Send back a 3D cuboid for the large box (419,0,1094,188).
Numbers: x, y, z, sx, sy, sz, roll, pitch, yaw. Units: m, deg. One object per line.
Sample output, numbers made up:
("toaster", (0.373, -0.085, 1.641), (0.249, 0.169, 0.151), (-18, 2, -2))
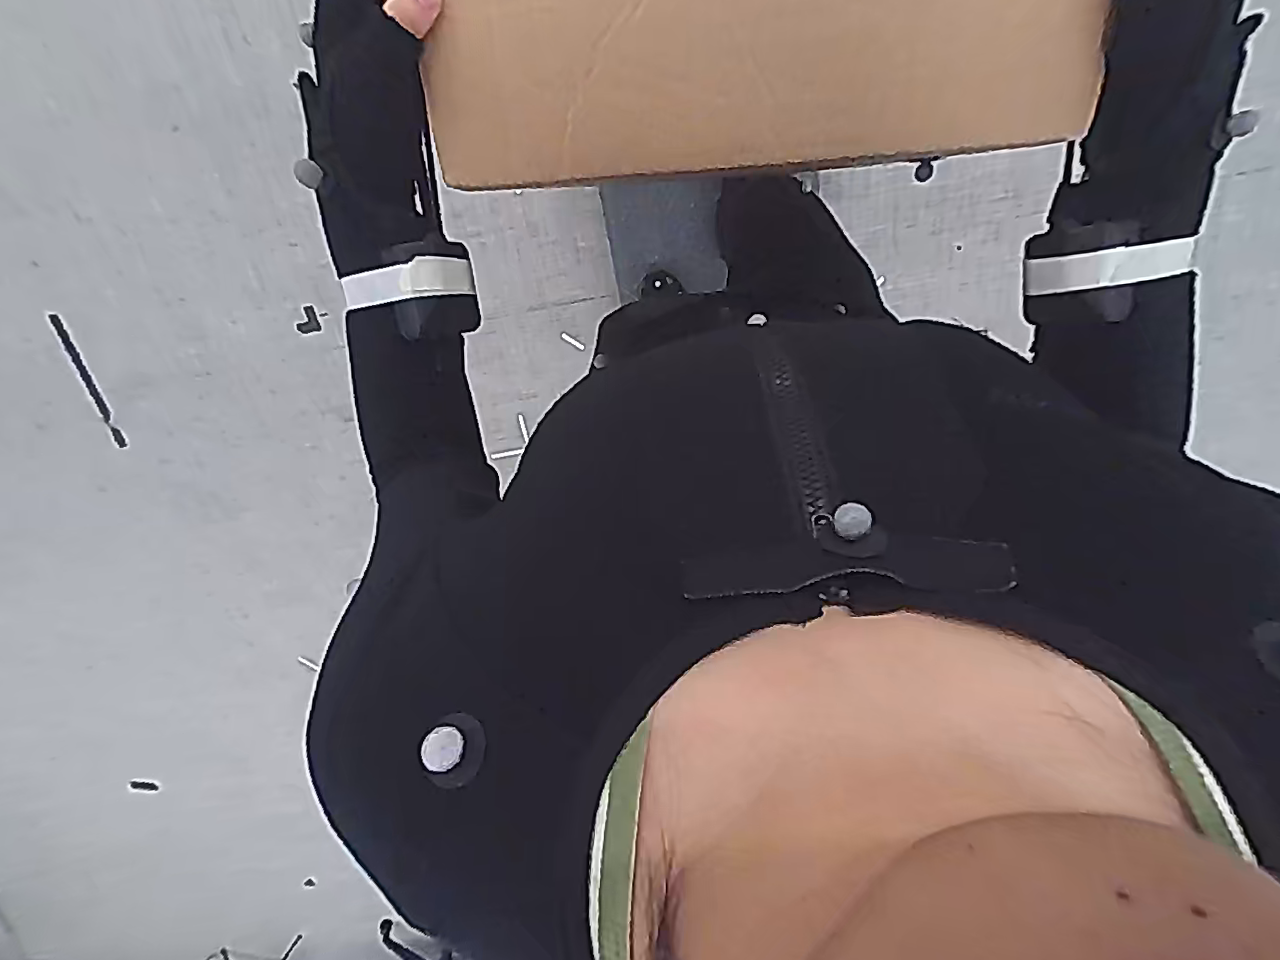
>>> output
("large box", (0.065, -0.416, 0.413), (0.408, 0.320, 0.320), (-3, 118, 2))
